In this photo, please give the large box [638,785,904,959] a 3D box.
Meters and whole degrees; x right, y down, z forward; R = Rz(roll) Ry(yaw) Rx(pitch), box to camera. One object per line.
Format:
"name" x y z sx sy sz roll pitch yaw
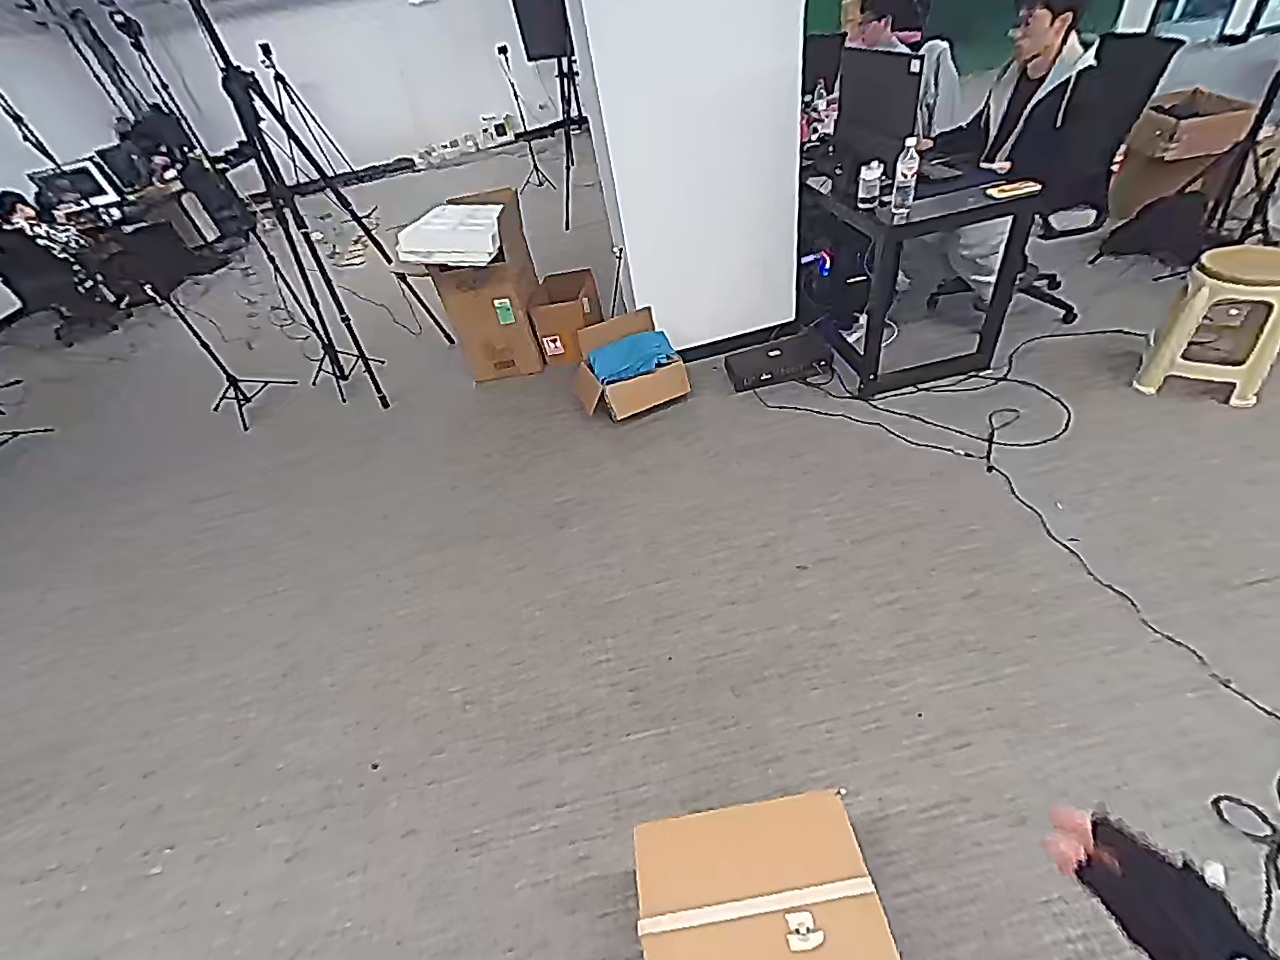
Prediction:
"large box" 0.231 0.838 1.027 0.408 0.320 0.320 -11 42 1
